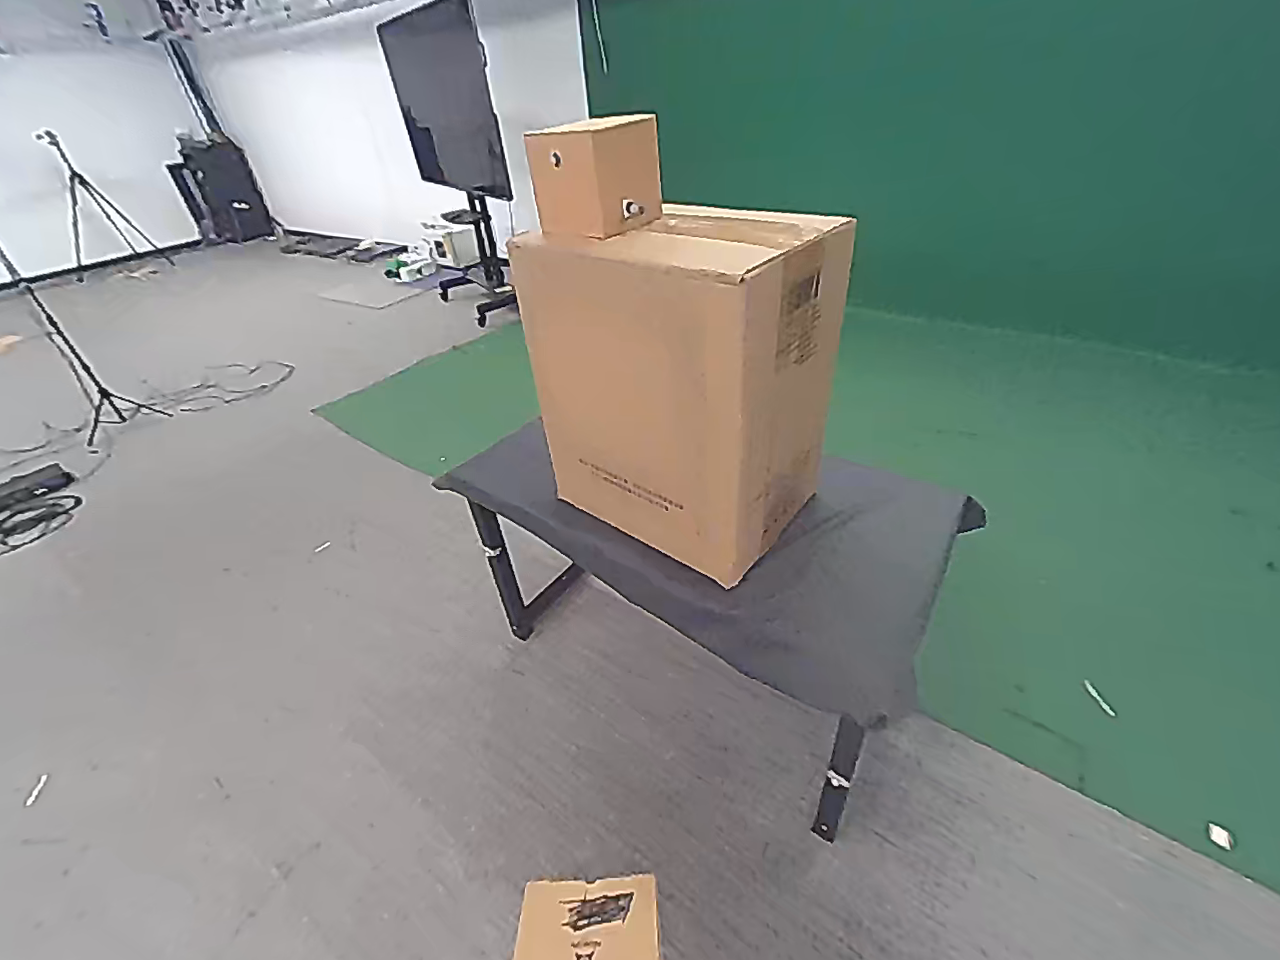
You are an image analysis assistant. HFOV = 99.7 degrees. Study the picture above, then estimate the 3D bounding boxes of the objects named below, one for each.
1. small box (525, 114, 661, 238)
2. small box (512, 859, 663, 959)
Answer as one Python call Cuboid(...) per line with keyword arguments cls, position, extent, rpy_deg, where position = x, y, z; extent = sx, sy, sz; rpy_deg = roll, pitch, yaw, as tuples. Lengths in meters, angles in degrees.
Cuboid(cls="small box", position=(-0.080, -0.557, 0.990), extent=(0.179, 0.176, 0.168), rpy_deg=(25, 49, 33))
Cuboid(cls="small box", position=(-0.056, 0.595, 0.637), extent=(0.168, 0.176, 0.179), rpy_deg=(-4, 19, 0))
